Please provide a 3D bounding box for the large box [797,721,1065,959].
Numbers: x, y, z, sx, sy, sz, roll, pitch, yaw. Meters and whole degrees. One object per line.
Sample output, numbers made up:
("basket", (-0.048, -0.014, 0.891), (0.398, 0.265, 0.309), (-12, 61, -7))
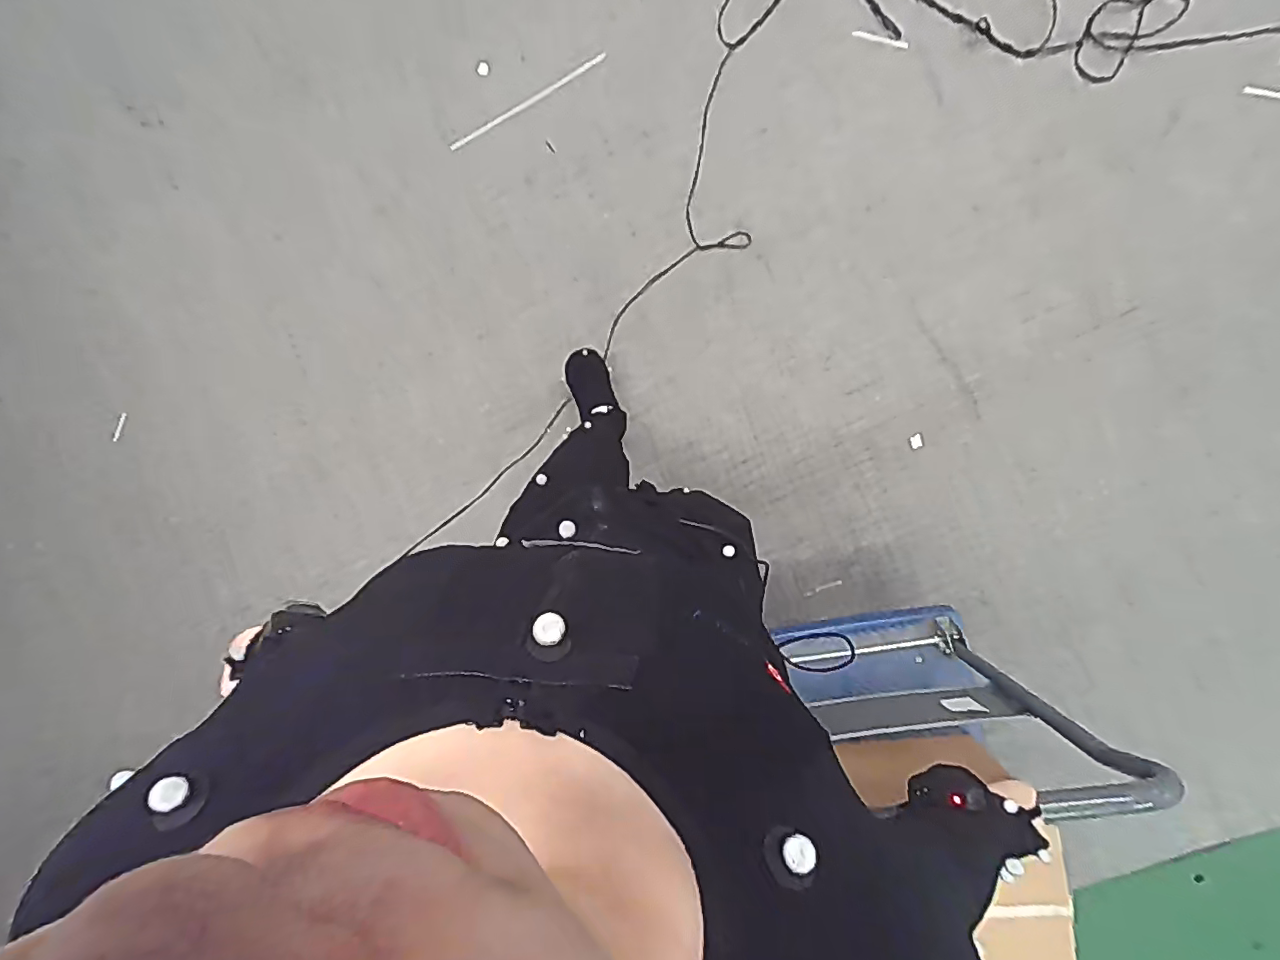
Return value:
("large box", (0.580, 0.751, 1.152), (0.408, 0.320, 0.320), (-9, 92, 8))
